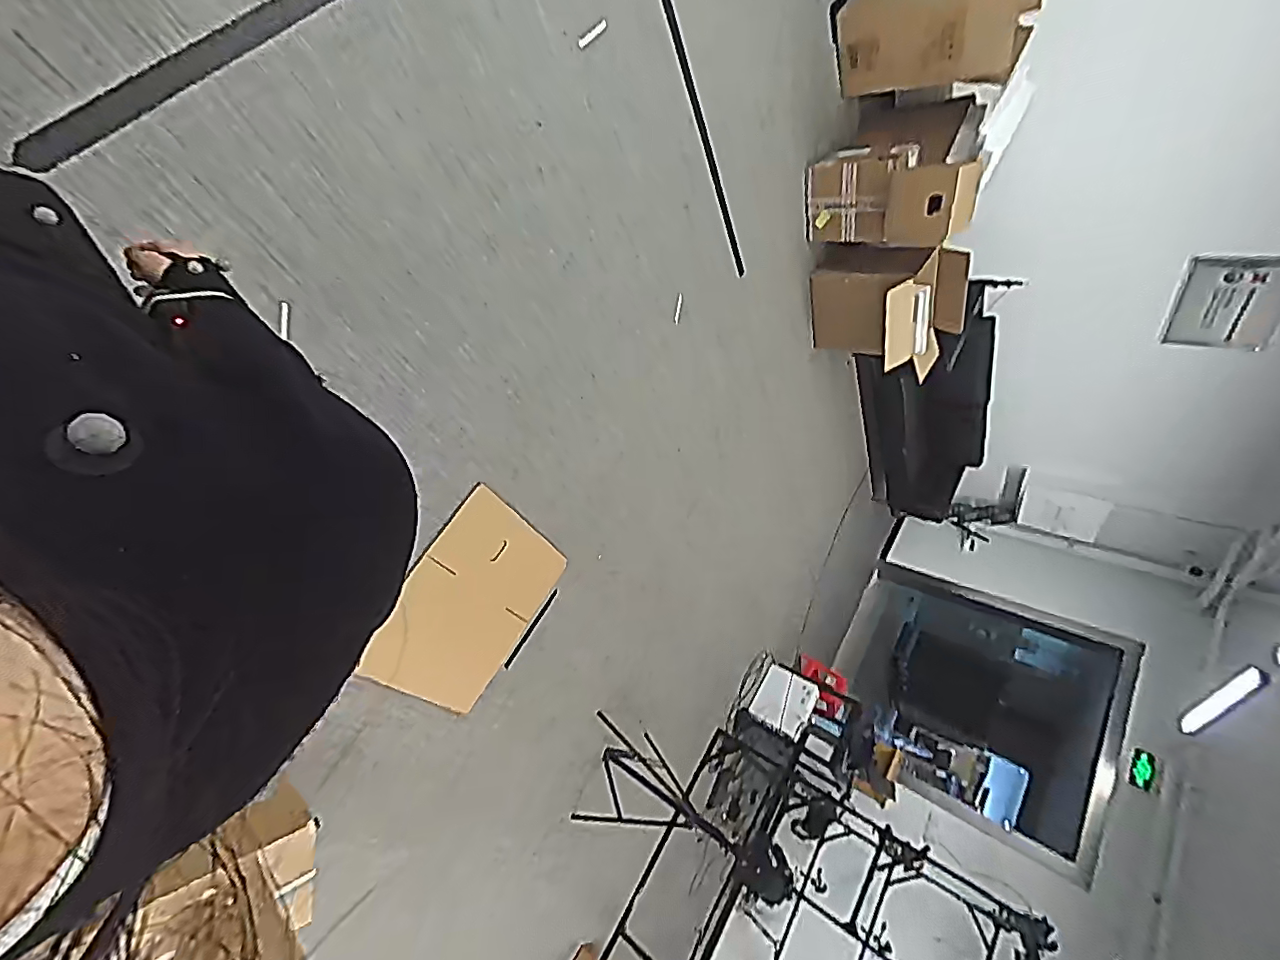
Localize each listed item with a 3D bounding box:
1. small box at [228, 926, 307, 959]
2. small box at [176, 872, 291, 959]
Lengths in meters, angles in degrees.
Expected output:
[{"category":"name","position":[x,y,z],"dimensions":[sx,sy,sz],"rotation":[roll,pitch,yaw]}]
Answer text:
[{"category":"small box","position":[-0.754,1.056,1.069],"dimensions":[0.168,0.176,0.179],"rotation":[-6,110,-51]},{"category":"small box","position":[-0.878,1.013,1.168],"dimensions":[0.168,0.176,0.179],"rotation":[-6,109,-50]}]
